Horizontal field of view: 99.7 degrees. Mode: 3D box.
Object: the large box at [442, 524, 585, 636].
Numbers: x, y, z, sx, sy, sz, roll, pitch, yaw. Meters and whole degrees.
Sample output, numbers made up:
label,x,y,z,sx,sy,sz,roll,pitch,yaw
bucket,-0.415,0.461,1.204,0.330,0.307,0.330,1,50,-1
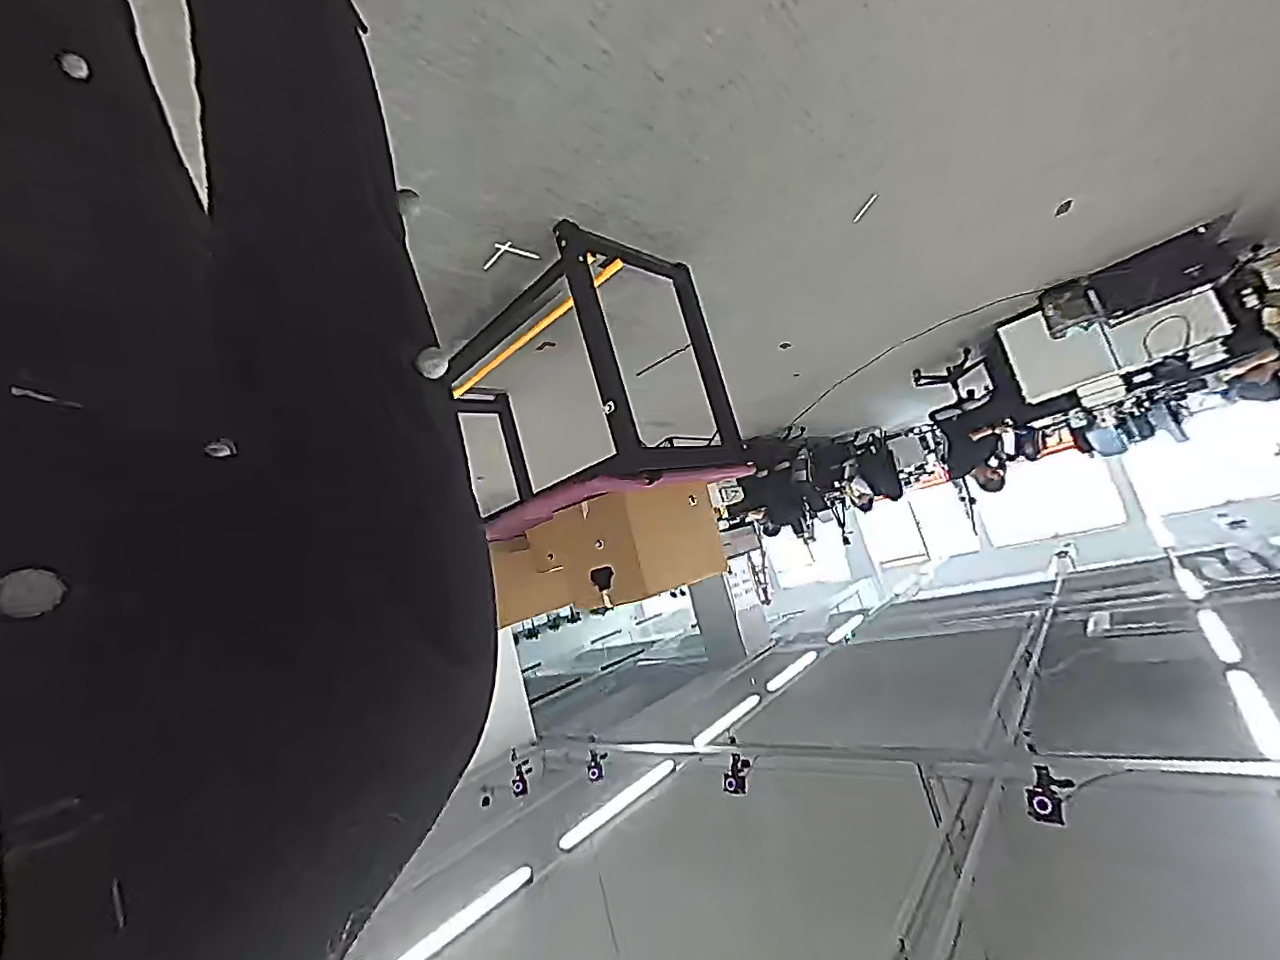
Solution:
label,x,y,z,sx,sy,sz,roll,pitch,yaw
large box,-0.496,0.382,2.118,0.320,0.320,0.408,-22,171,40
